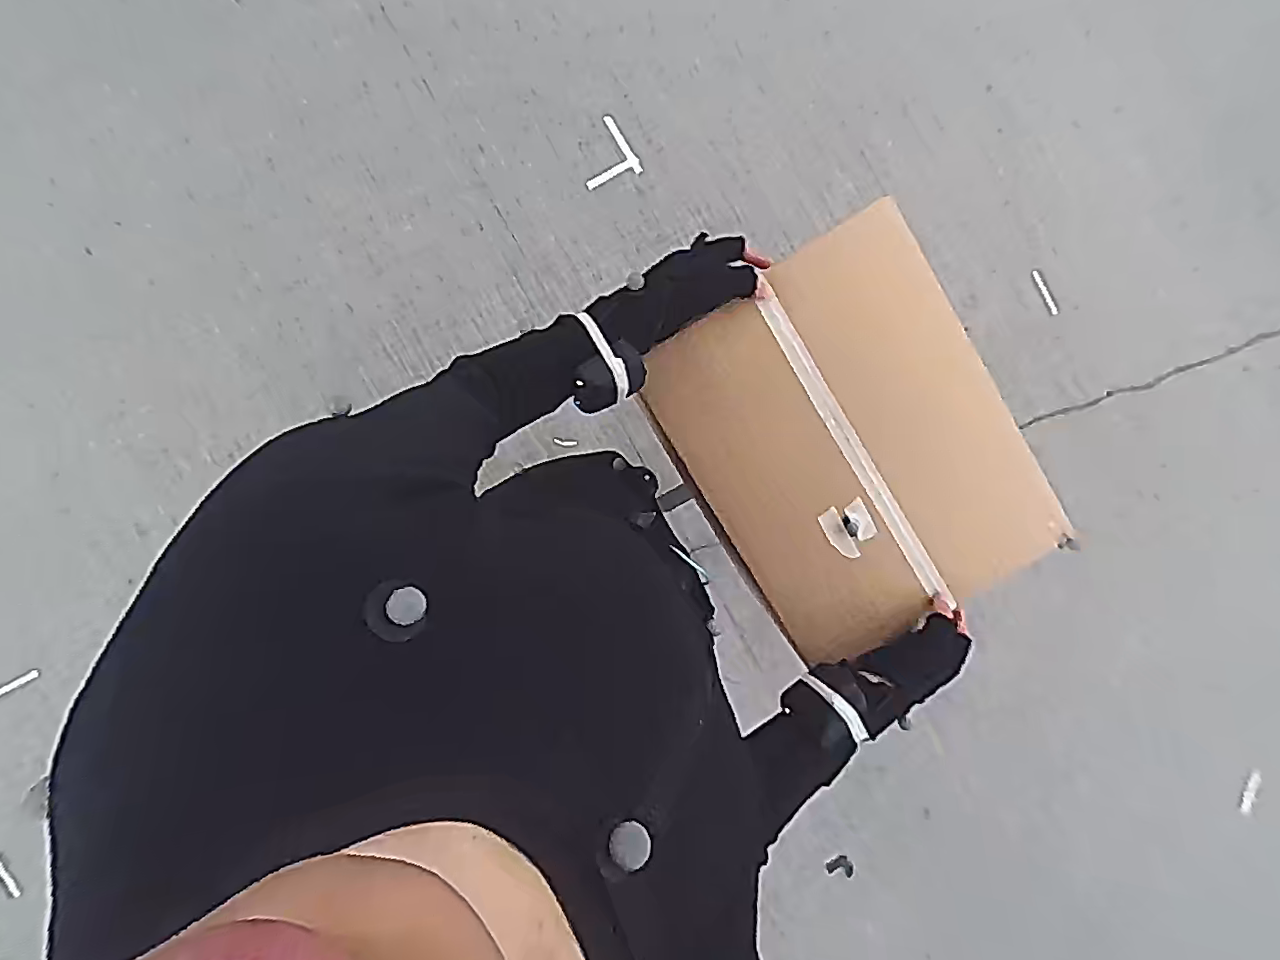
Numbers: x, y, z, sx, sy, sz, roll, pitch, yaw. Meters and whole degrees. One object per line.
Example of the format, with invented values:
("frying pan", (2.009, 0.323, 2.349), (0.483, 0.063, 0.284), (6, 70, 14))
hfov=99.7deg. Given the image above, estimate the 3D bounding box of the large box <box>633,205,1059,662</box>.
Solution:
("large box", (0.221, -0.056, 0.722), (0.320, 0.320, 0.408), (-31, 96, 4))
